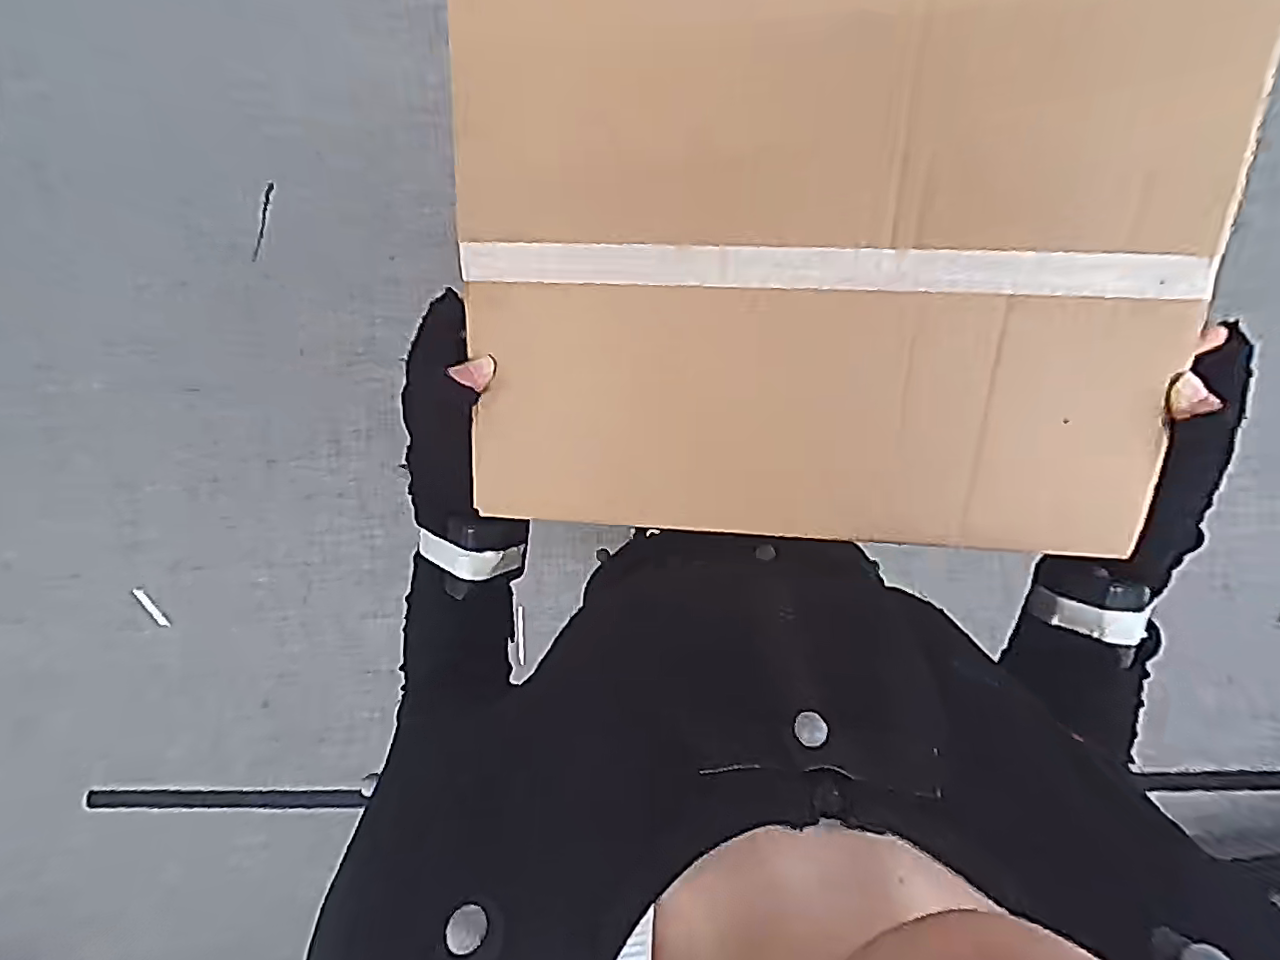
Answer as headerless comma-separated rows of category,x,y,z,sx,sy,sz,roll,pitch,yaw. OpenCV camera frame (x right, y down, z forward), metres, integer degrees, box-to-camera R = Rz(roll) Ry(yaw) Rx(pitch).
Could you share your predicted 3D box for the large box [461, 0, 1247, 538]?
large box,0.107,-0.156,0.455,0.408,0.320,0.320,3,106,4
